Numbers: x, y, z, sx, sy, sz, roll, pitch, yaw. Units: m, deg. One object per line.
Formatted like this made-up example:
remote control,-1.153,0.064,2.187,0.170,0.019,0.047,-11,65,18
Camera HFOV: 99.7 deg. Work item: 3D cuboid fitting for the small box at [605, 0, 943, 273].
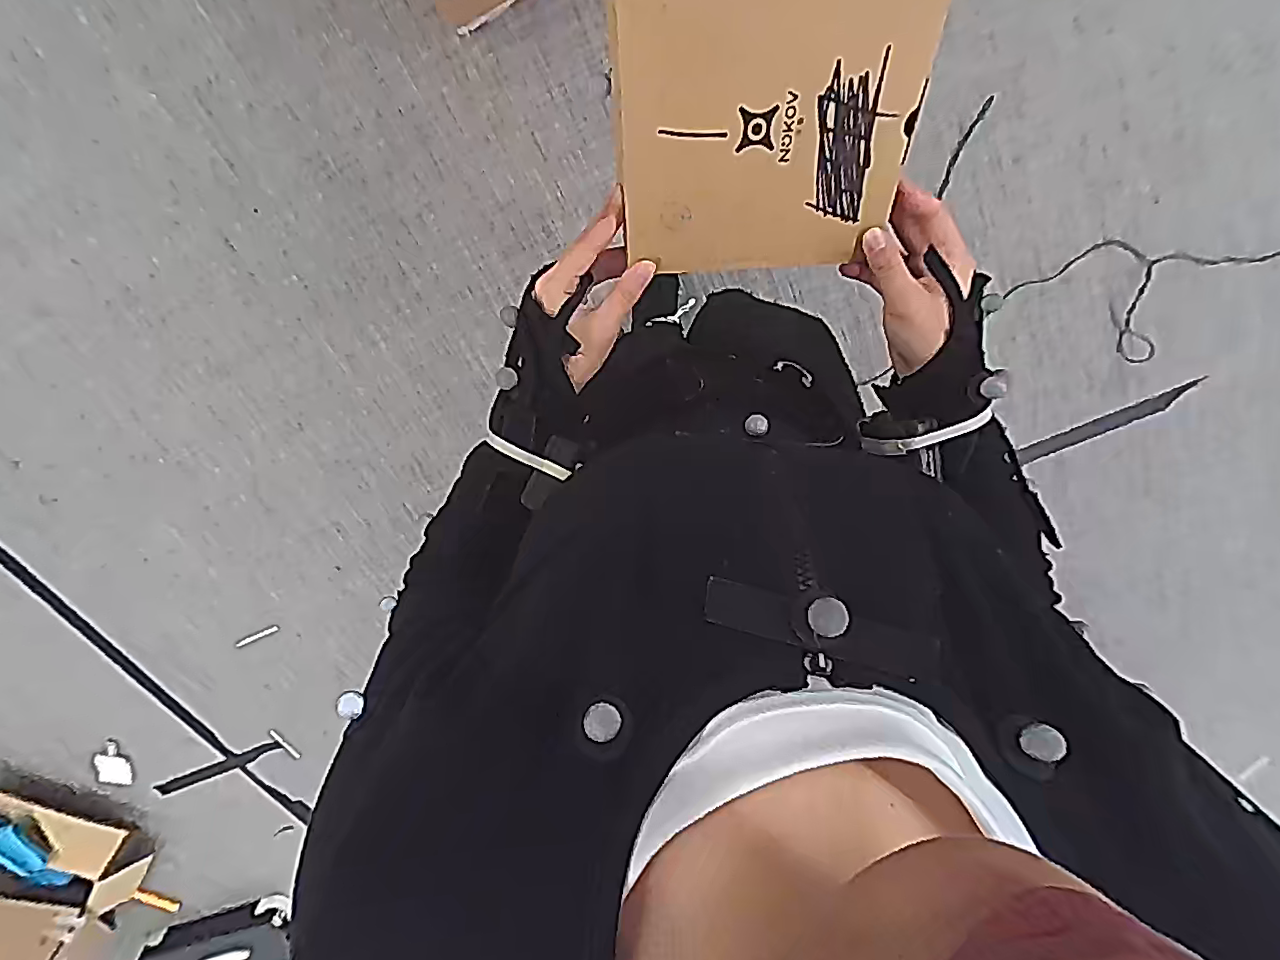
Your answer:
small box,0.069,-0.264,0.377,0.179,0.176,0.168,-4,135,-1
